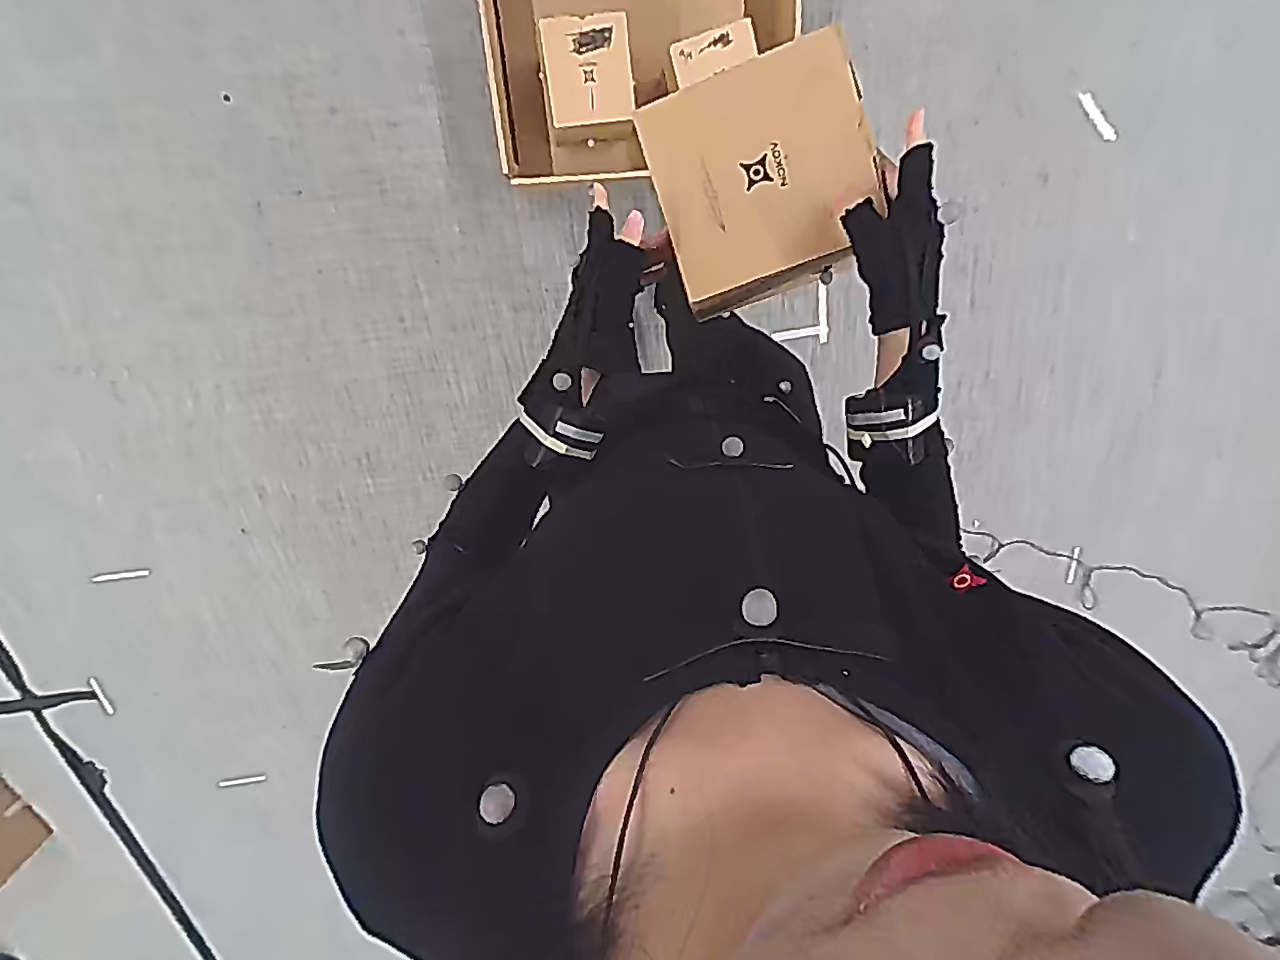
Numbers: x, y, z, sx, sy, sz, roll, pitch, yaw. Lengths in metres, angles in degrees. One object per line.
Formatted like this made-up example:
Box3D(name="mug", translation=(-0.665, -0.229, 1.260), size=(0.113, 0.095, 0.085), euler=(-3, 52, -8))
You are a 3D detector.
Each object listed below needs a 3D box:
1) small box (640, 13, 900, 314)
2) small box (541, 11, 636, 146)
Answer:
Box3D(name="small box", translation=(0.115, -0.272, 0.515), size=(0.179, 0.176, 0.168), euler=(-18, 97, 11))
Box3D(name="small box", translation=(-0.106, -0.807, 1.102), size=(0.168, 0.176, 0.179), euler=(-9, 111, -4))
